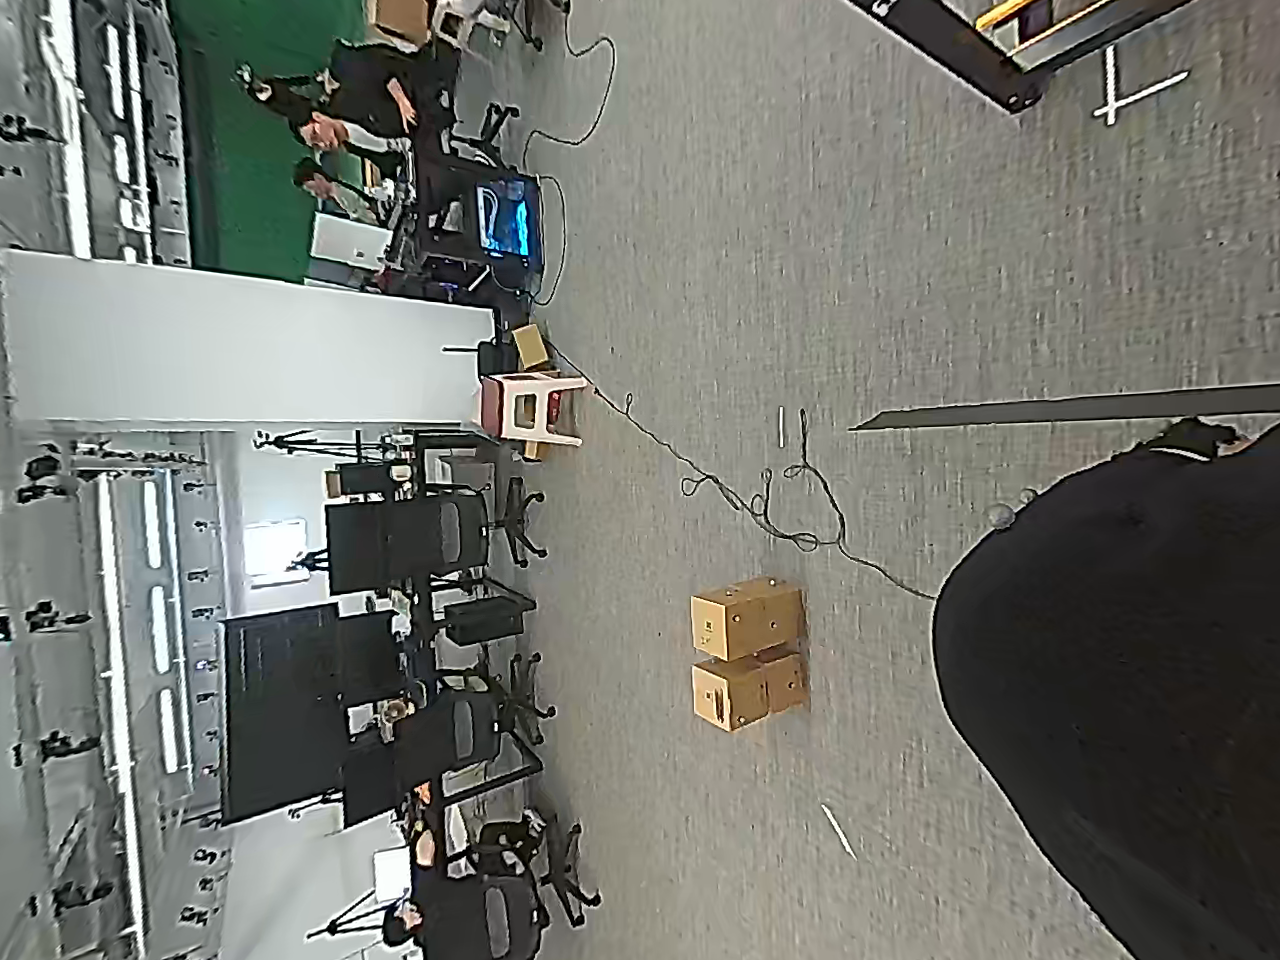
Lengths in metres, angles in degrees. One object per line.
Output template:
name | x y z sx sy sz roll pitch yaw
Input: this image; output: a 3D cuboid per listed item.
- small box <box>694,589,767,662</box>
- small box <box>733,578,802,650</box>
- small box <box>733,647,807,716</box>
small box | 0.292 0.459 1.740 0.168 0.176 0.179 2 96 57
small box | 0.429 0.446 1.831 0.168 0.176 0.179 12 104 55
small box | 0.442 0.679 1.846 0.179 0.176 0.168 -10 85 56
